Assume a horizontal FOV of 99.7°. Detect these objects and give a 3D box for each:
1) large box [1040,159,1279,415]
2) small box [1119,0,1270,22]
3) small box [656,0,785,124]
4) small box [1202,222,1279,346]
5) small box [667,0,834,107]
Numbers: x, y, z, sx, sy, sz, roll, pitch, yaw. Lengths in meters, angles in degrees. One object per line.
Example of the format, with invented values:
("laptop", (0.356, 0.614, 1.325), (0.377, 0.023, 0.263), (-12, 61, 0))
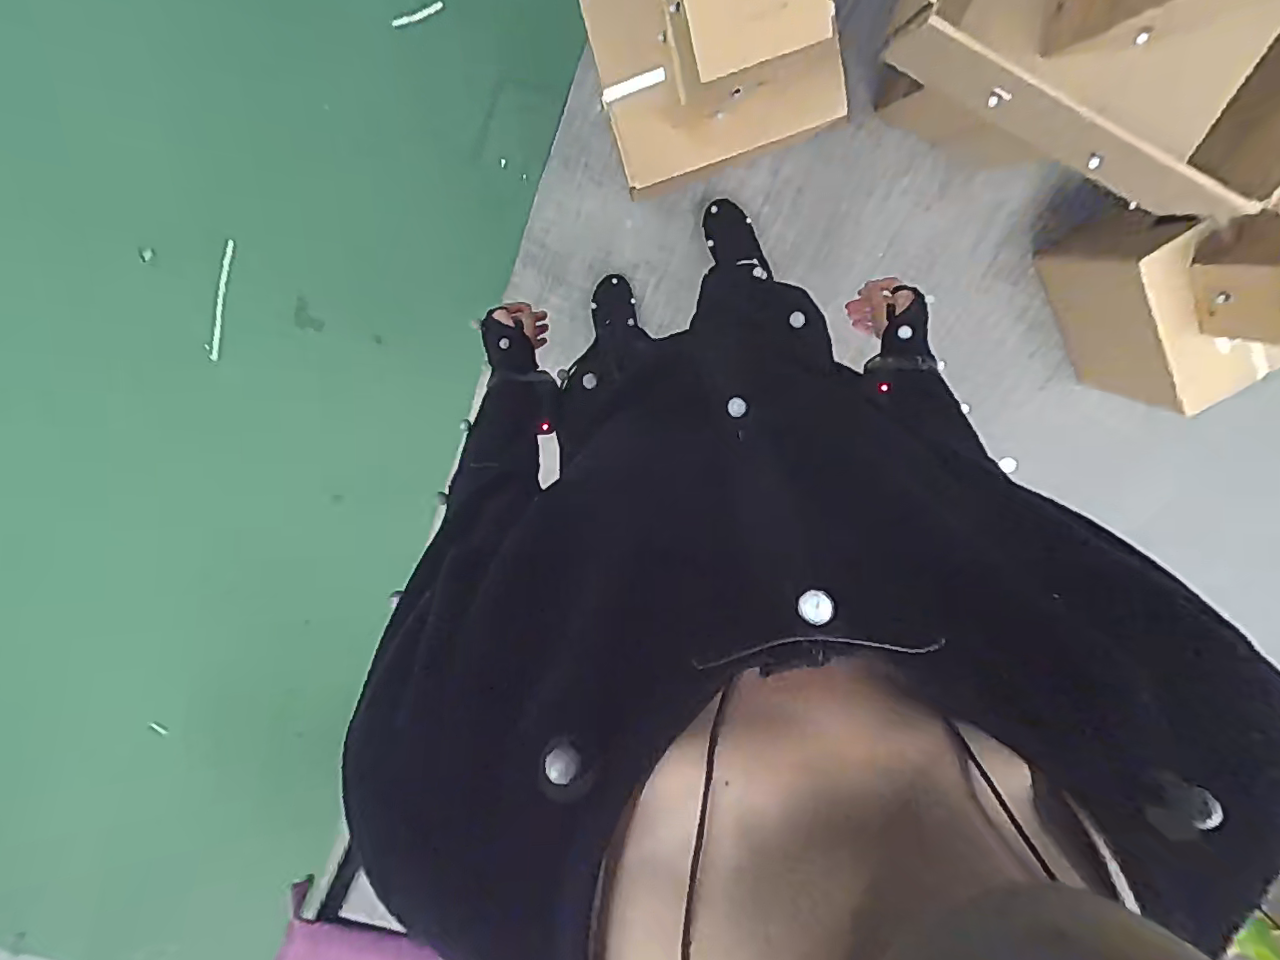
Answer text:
("large box", (1.214, -0.427, 1.219), (0.320, 0.320, 0.408), (-33, 111, 14))
("small box", (0.677, -0.621, 0.569), (0.179, 0.176, 0.168), (-5, 113, 3))
("small box", (0.122, -0.683, 0.835), (0.168, 0.176, 0.179), (-12, 114, 6))
("small box", (1.197, -0.366, 0.980), (0.179, 0.176, 0.168), (-30, 111, 11))
("small box", (0.128, -0.614, 0.687), (0.168, 0.176, 0.179), (-15, 113, 7))
